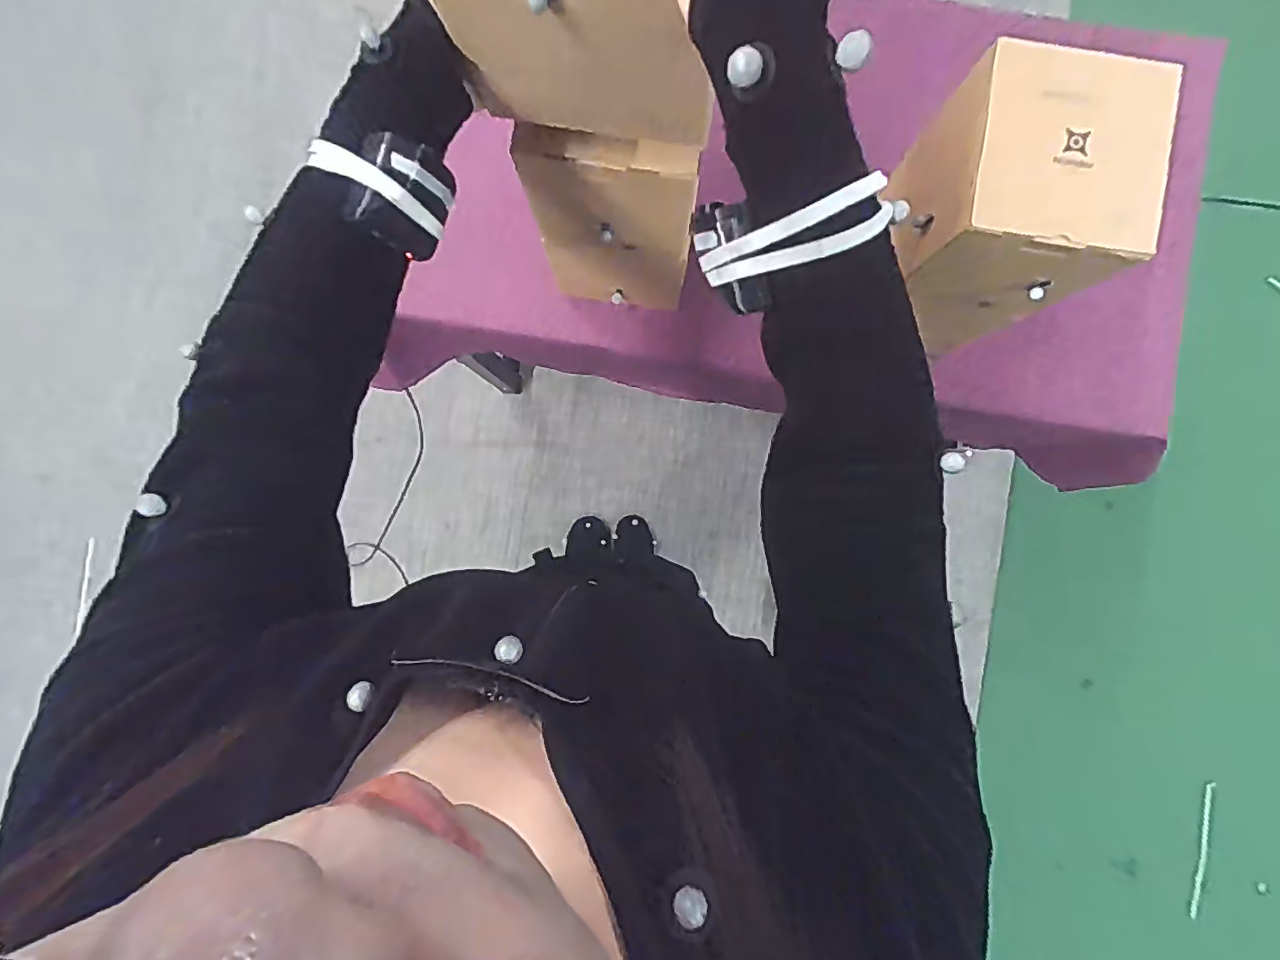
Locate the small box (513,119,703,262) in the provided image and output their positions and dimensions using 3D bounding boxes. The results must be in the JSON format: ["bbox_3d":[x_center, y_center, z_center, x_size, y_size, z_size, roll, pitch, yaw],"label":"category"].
[{"bbox_3d":[-0.019,-0.355,0.558,0.168,0.176,0.179,10,89,1],"label":"small box"}]

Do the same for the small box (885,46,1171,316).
[{"bbox_3d":[0.377,-0.287,0.559,0.168,0.176,0.179,10,88,0],"label":"small box"}]

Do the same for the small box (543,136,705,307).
[{"bbox_3d":[-0.021,-0.345,0.723,0.179,0.176,0.168,8,88,-1],"label":"small box"}]

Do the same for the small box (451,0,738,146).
[{"bbox_3d":[-0.024,-0.352,0.350,0.179,0.176,0.168,11,90,4],"label":"small box"}]
